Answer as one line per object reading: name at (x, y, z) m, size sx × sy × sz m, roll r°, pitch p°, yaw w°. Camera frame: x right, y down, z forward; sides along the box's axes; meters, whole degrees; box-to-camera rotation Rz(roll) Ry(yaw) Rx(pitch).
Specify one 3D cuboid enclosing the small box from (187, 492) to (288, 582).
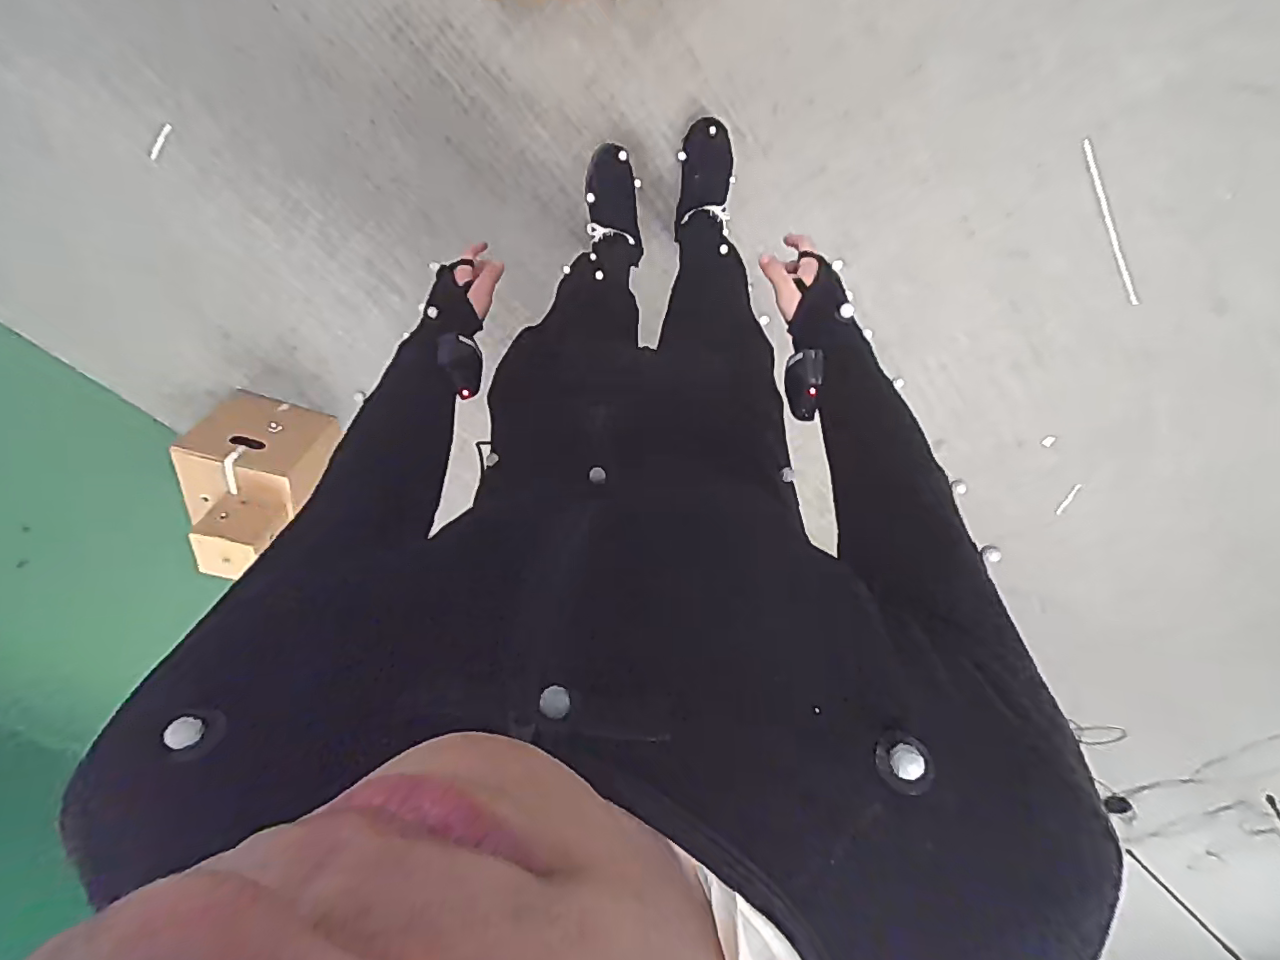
small box at (-1.147, 0.160, 1.554) m, size 0.168 × 0.176 × 0.179 m, roll 16°, pitch 130°, yaw -10°
